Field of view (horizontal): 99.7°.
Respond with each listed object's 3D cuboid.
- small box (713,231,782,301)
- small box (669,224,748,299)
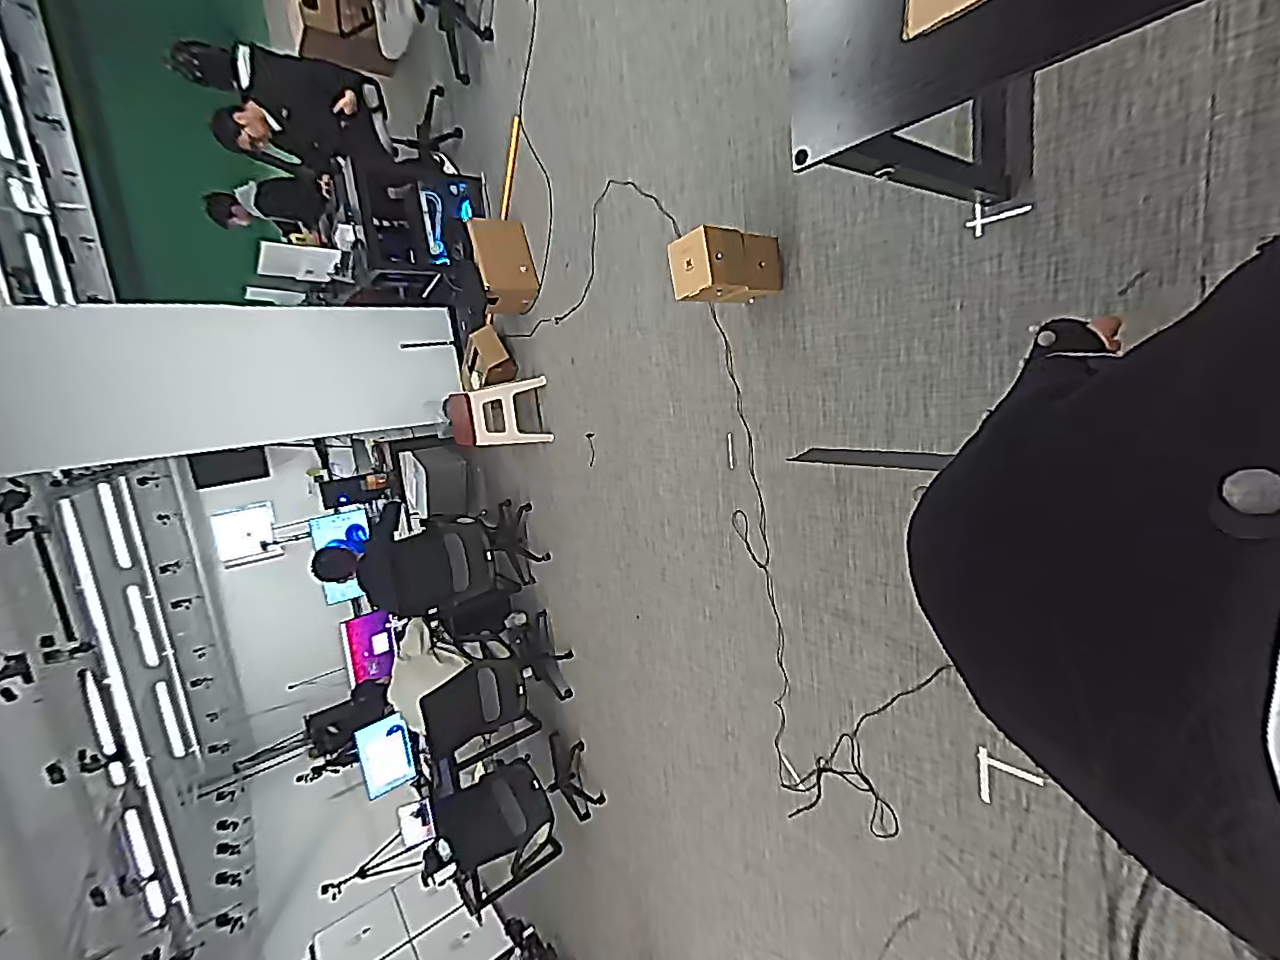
[{"bbox_3d":[0.347,-0.697,1.779,0.168,0.176,0.179,1,103,53],"label":"small box"},{"bbox_3d":[0.218,-0.673,1.682,0.168,0.176,0.179,-3,98,53],"label":"small box"}]
